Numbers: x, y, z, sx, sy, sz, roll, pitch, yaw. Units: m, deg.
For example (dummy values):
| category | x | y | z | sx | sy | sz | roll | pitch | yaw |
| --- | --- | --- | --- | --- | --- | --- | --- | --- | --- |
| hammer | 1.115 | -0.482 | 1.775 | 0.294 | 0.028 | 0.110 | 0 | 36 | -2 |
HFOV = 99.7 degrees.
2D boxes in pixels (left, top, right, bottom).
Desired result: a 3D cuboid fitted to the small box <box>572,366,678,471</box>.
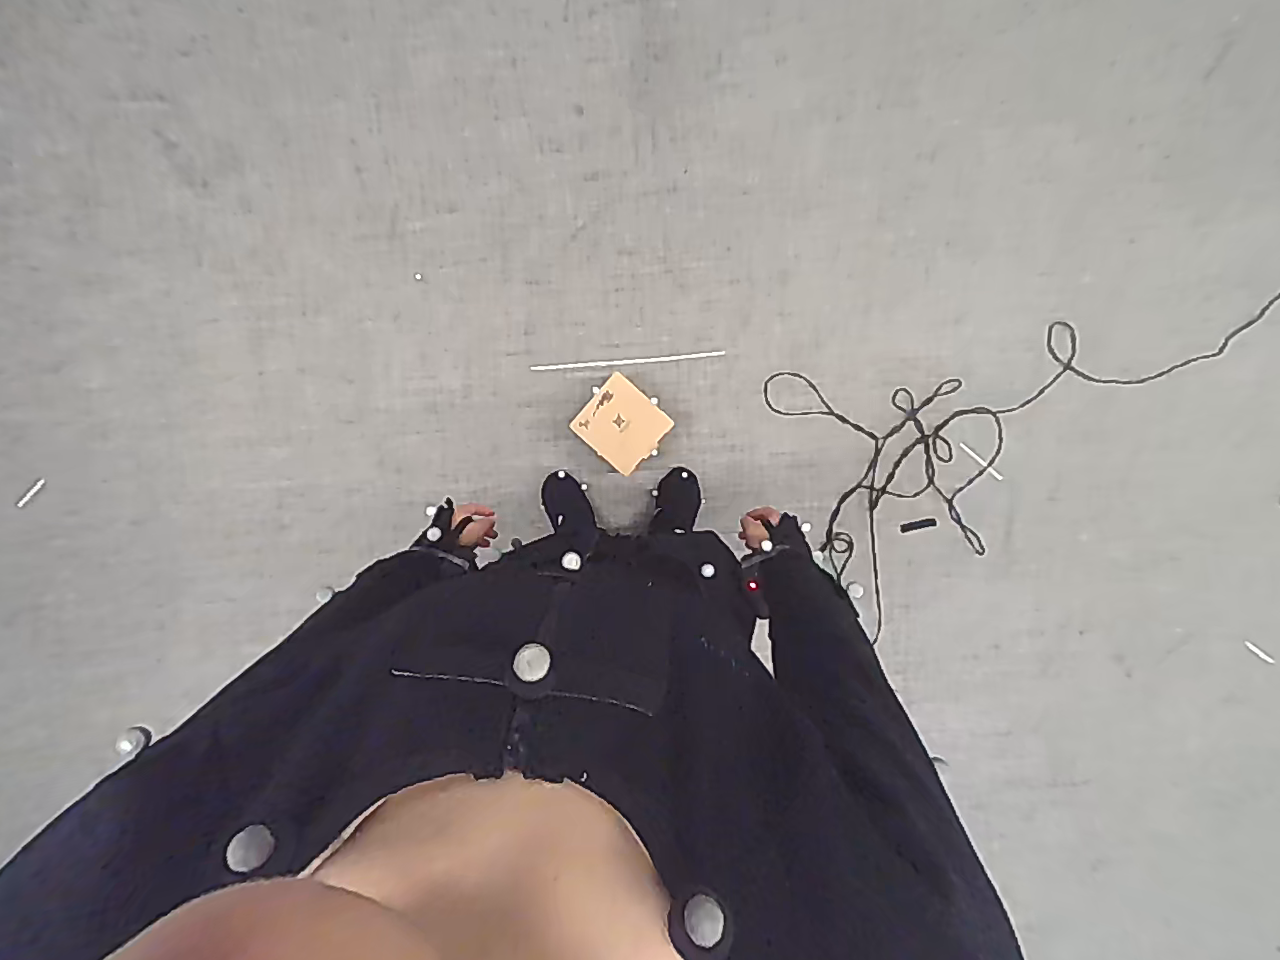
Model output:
| category | x | y | z | sx | sy | sz | roll | pitch | yaw |
| --- | --- | --- | --- | --- | --- | --- | --- | --- | --- |
| small box | -0.030 | -0.144 | 1.258 | 0.179 | 0.176 | 0.168 | 42 | 96 | -3 |
